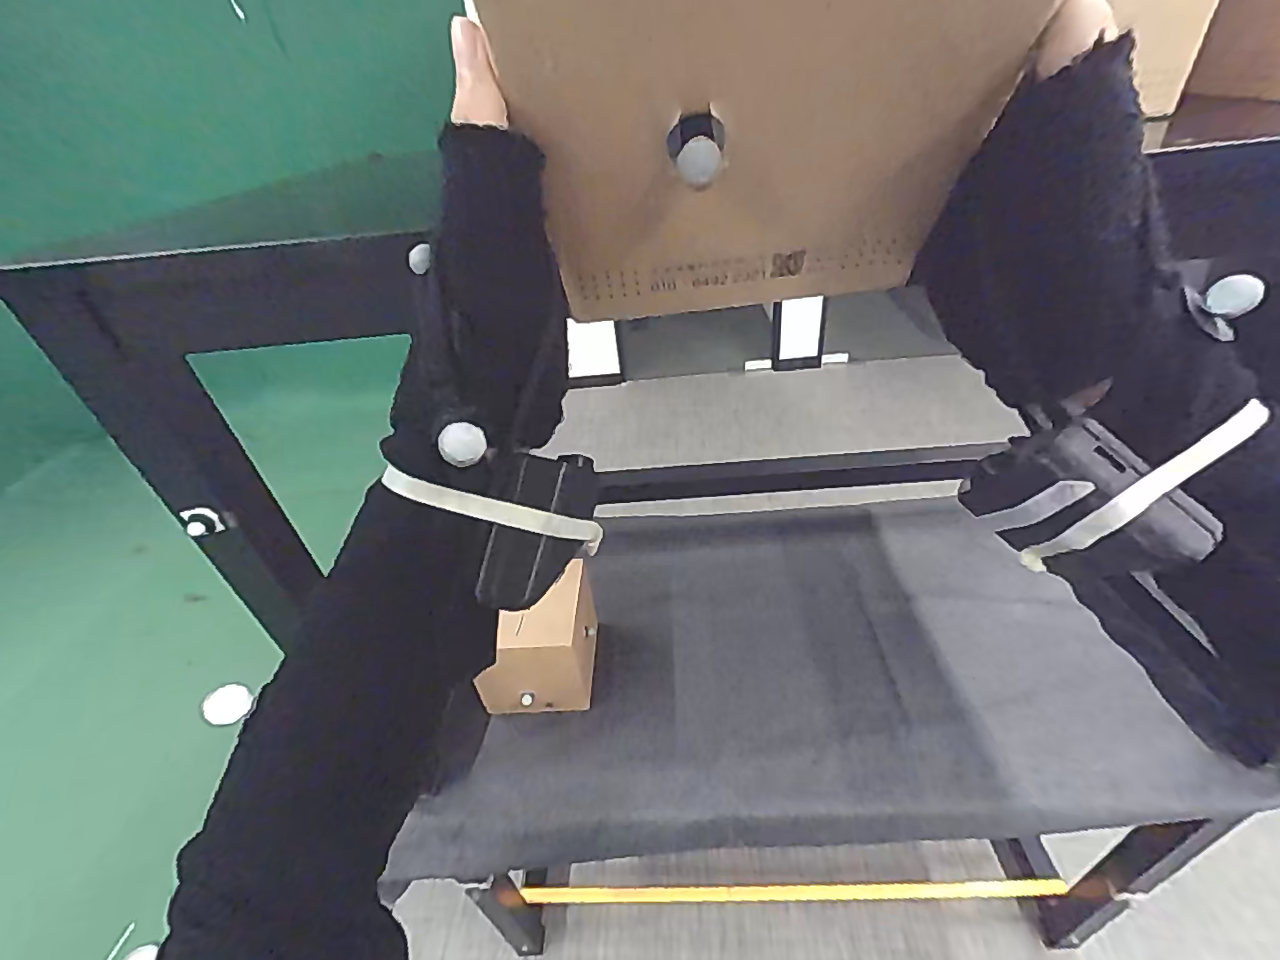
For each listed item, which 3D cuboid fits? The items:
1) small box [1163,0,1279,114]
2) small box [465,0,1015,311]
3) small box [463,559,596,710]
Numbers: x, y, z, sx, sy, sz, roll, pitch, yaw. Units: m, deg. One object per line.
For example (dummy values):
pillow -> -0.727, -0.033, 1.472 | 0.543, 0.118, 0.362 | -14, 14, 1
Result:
small box -> 0.515, -0.349, 0.355 | 0.168, 0.176, 0.179 | 3, 37, 13
small box -> 0.034, -0.191, 0.233 | 0.168, 0.176, 0.179 | -6, 69, 3
small box -> -0.168, 0.251, 0.887 | 0.168, 0.176, 0.179 | -4, 36, 4
